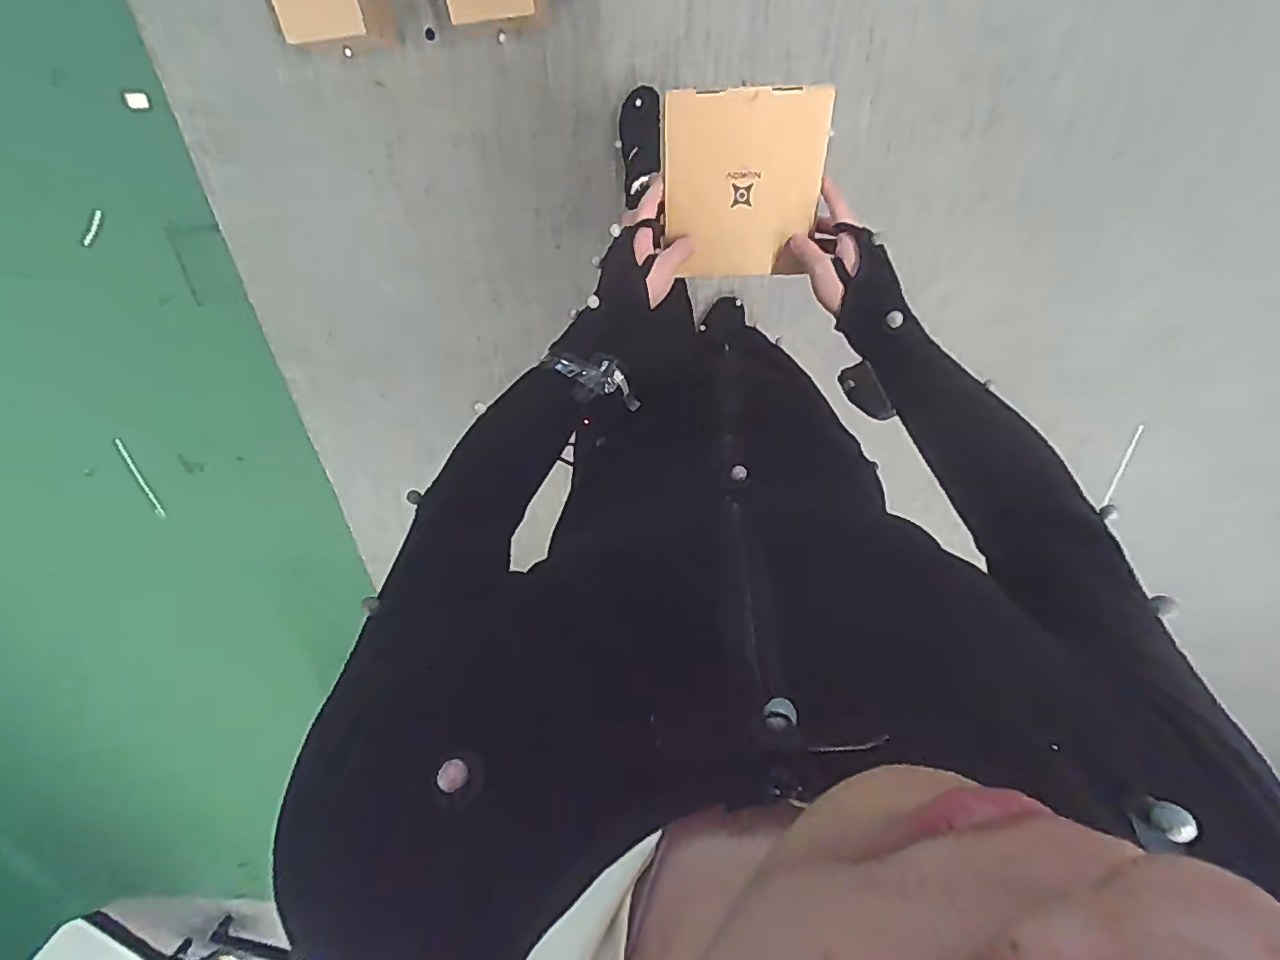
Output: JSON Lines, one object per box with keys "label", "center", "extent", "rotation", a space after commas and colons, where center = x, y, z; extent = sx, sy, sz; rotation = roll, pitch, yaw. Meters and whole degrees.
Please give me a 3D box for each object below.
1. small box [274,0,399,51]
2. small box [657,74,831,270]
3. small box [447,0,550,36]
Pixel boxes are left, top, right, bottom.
{"label": "small box", "center": [-0.606, -0.968, 1.067], "extent": [0.168, 0.176, 0.179], "rotation": [-3, 122, 4]}
{"label": "small box", "center": [0.104, -0.353, 0.622], "extent": [0.168, 0.176, 0.179], "rotation": [0, 123, 3]}
{"label": "small box", "center": [-0.280, -0.986, 1.039], "extent": [0.168, 0.176, 0.179], "rotation": [-2, 122, 5]}
